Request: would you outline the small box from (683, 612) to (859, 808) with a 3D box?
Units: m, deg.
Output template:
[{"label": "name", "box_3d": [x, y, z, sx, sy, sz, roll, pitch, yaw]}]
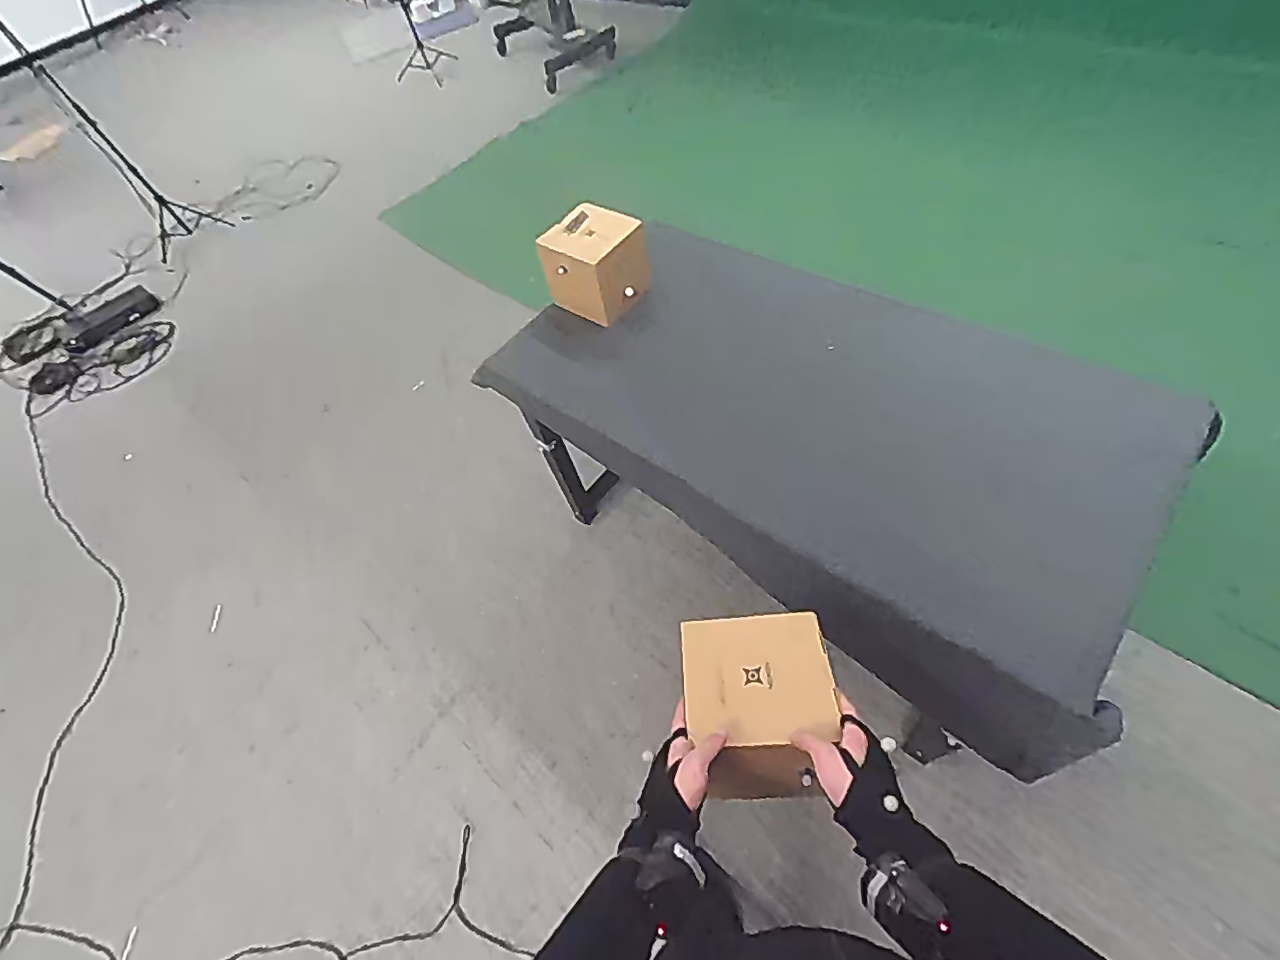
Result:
[{"label": "small box", "box_3d": [0.152, 0.288, 0.676, 0.179, 0.176, 0.168, -7, 39, 5]}]

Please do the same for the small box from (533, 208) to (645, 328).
[{"label": "small box", "box_3d": [-0.107, -0.471, 1.210, 0.179, 0.176, 0.168, 30, 64, 23]}]
